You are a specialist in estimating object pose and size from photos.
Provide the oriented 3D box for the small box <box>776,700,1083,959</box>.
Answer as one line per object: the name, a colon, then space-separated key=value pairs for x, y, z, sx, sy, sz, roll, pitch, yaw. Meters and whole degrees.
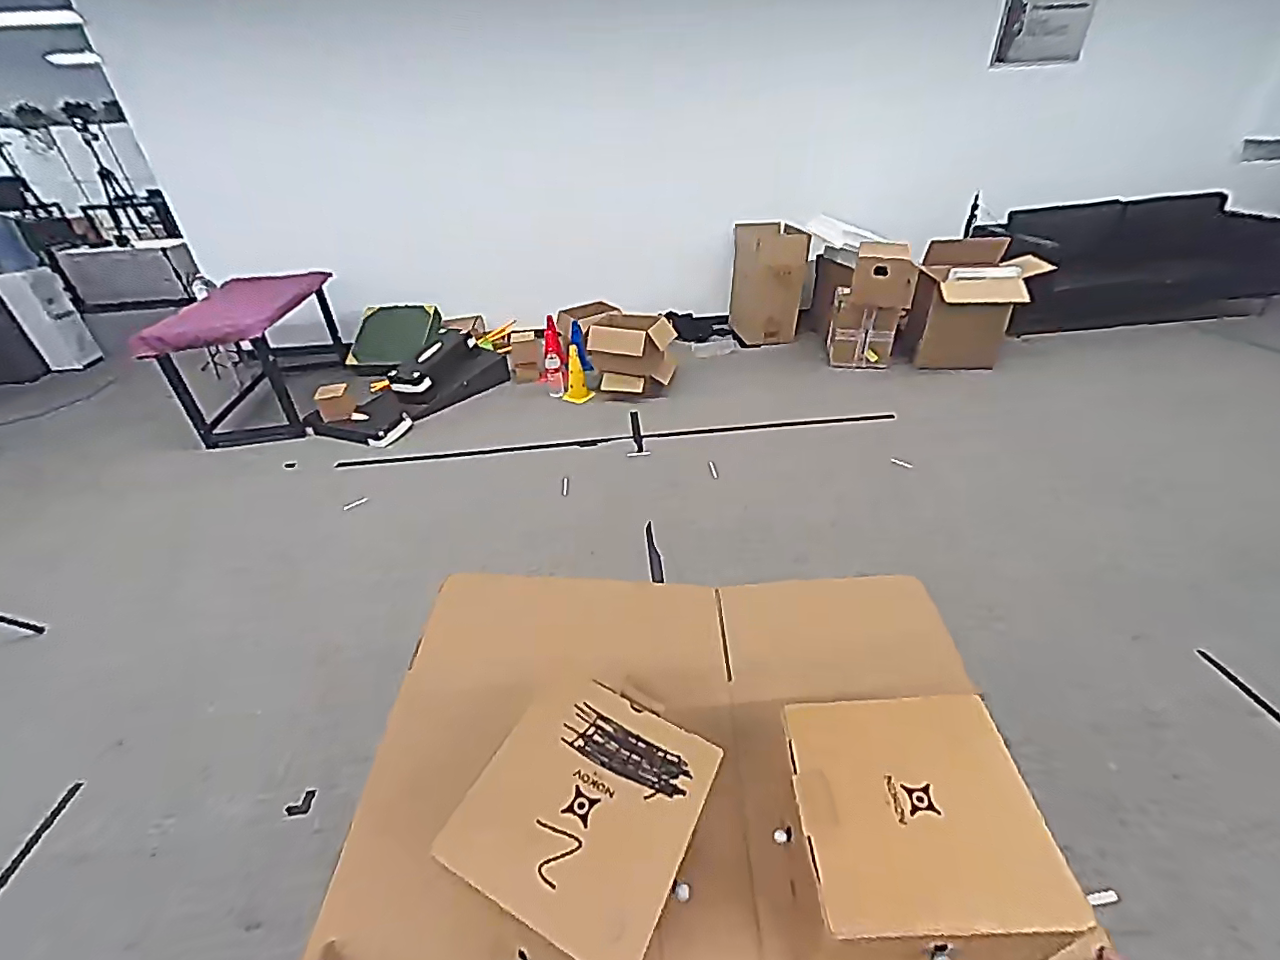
small box: x=0.227 y=0.318 z=0.485 sx=0.179 sy=0.176 sz=0.168 roll=-5 pitch=39 yaw=4
